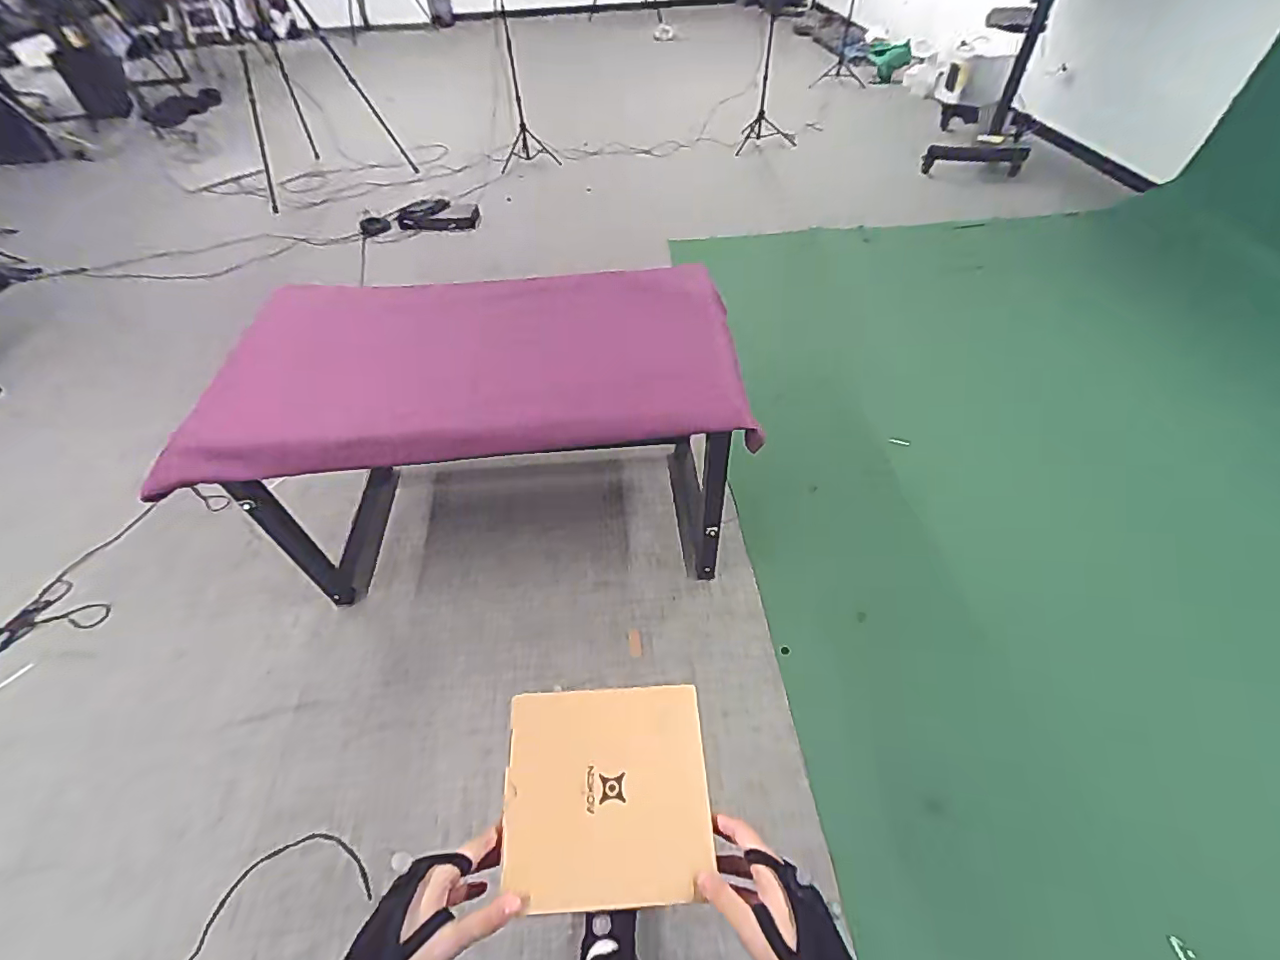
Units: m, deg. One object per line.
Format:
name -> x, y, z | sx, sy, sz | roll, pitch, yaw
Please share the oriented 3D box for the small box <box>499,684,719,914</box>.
small box -> -0.027, 0.312, 0.533 | 0.179, 0.176, 0.168 | -5, 54, -1
